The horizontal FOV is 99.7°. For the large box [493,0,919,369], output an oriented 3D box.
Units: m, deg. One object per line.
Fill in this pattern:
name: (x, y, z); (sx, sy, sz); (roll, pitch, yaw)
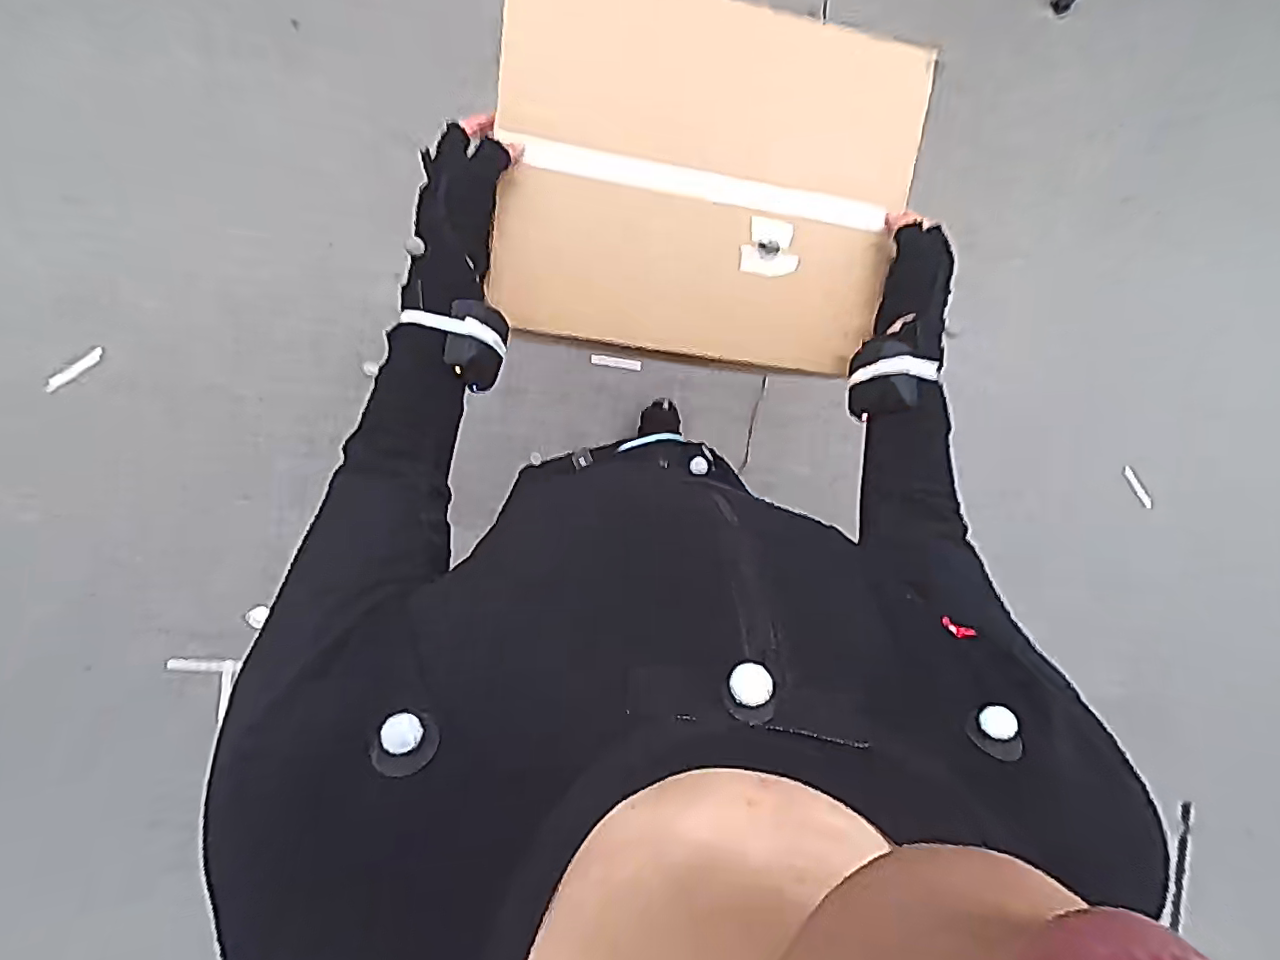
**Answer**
large box: (0.044, -0.319, 0.678); (0.408, 0.320, 0.320); (6, 102, -10)
